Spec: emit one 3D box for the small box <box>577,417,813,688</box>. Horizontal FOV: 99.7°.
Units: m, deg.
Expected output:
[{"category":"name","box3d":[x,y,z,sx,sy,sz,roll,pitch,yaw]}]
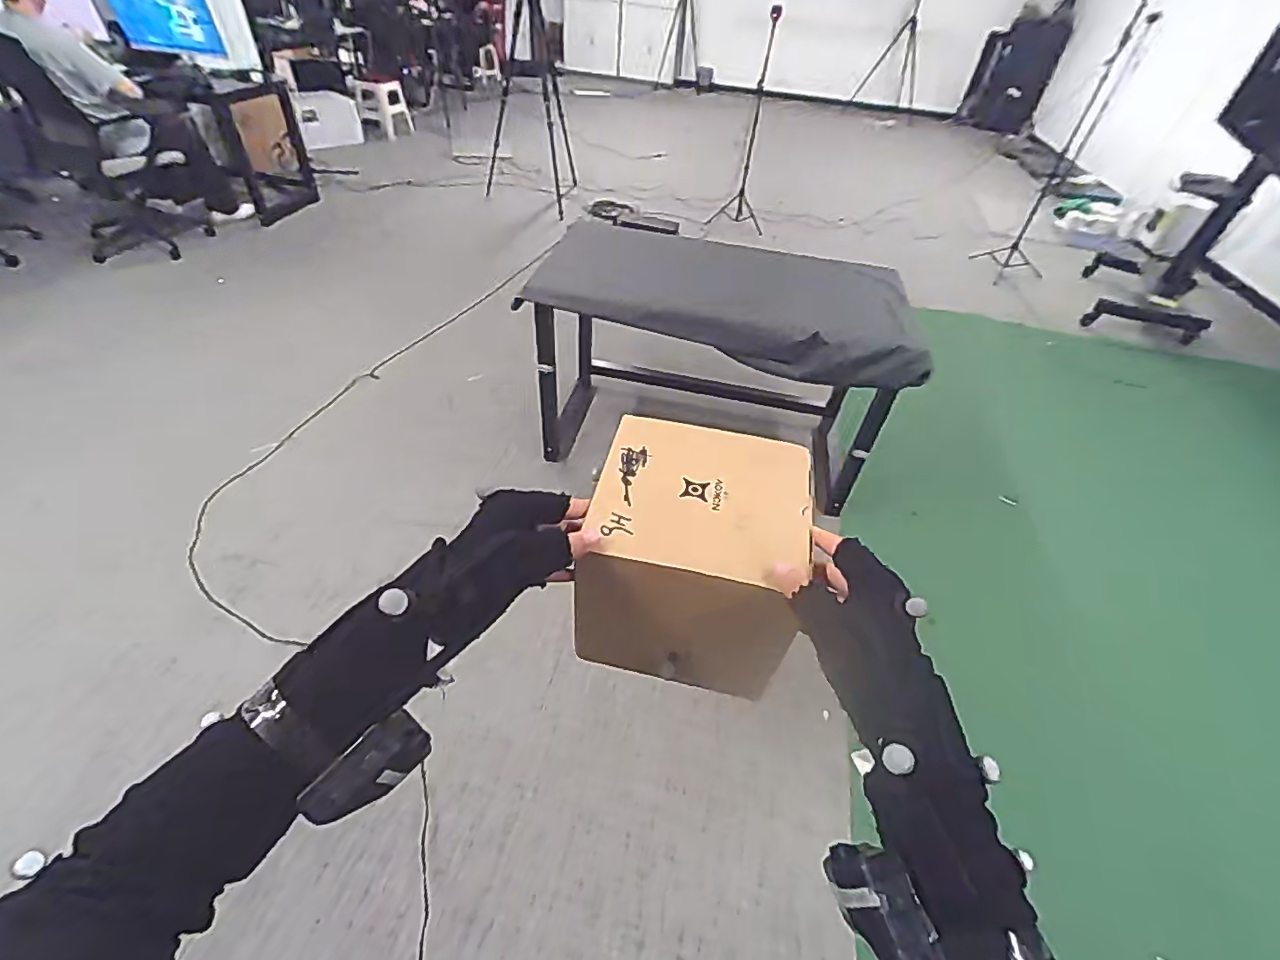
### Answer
[{"category":"small box","box3d":[0.047,0.070,0.501,0.179,0.176,0.168,11,45,5]}]
